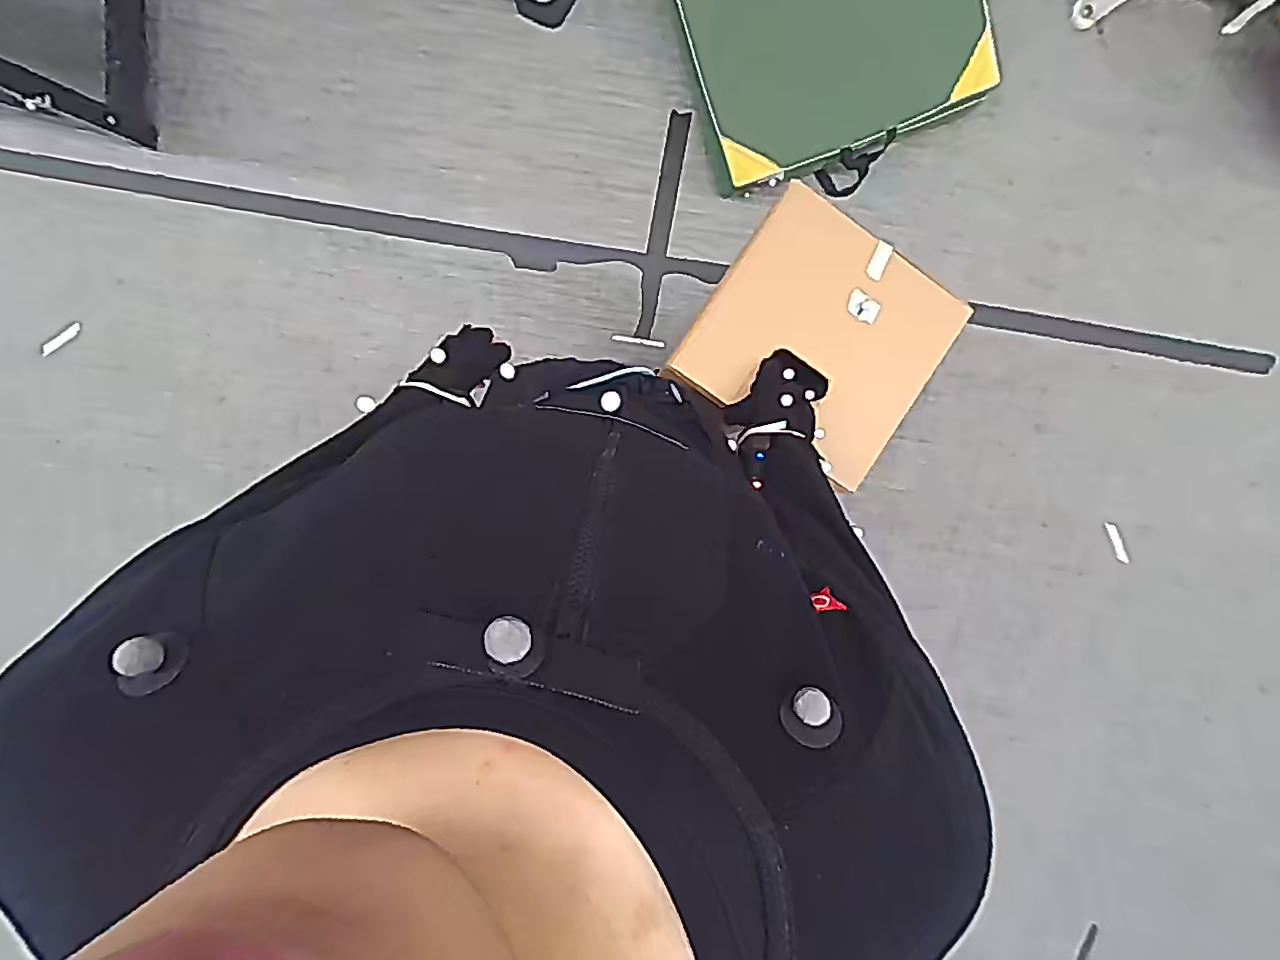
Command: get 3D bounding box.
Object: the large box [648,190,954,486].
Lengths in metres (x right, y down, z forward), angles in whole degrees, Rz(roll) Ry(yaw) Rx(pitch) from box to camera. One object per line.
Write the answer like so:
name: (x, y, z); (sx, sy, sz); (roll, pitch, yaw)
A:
large box: (0.234, -0.203, 0.945); (0.320, 0.408, 0.320); (35, 89, -3)
